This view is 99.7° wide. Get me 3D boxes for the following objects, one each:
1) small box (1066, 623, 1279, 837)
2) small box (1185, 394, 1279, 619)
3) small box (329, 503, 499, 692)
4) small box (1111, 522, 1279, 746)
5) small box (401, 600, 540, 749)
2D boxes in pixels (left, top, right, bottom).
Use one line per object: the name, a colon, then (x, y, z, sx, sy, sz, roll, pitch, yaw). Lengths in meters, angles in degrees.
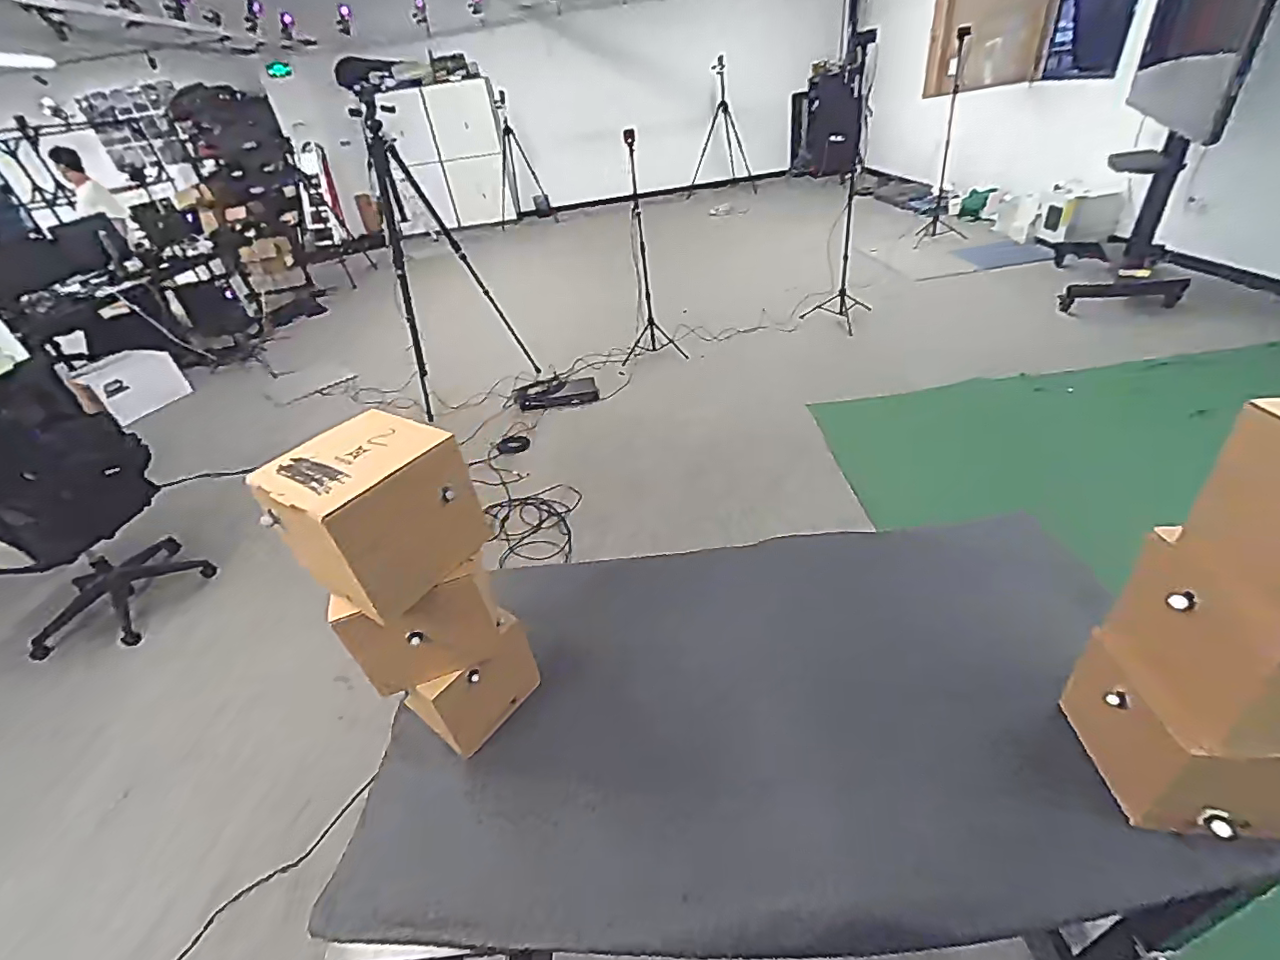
small box: (0.664, 0.294, 0.654, 0.168, 0.176, 0.179, -4, 34, 10)
small box: (0.639, 0.033, 0.456, 0.168, 0.176, 0.179, -4, 32, 9)
small box: (-0.312, 0.166, 0.776, 0.179, 0.176, 0.168, -19, 38, -12)
small box: (0.656, 0.158, 0.566, 0.168, 0.176, 0.179, -5, 32, 8)
small box: (-0.291, 0.295, 0.877, 0.179, 0.176, 0.168, 20, 45, 33)
